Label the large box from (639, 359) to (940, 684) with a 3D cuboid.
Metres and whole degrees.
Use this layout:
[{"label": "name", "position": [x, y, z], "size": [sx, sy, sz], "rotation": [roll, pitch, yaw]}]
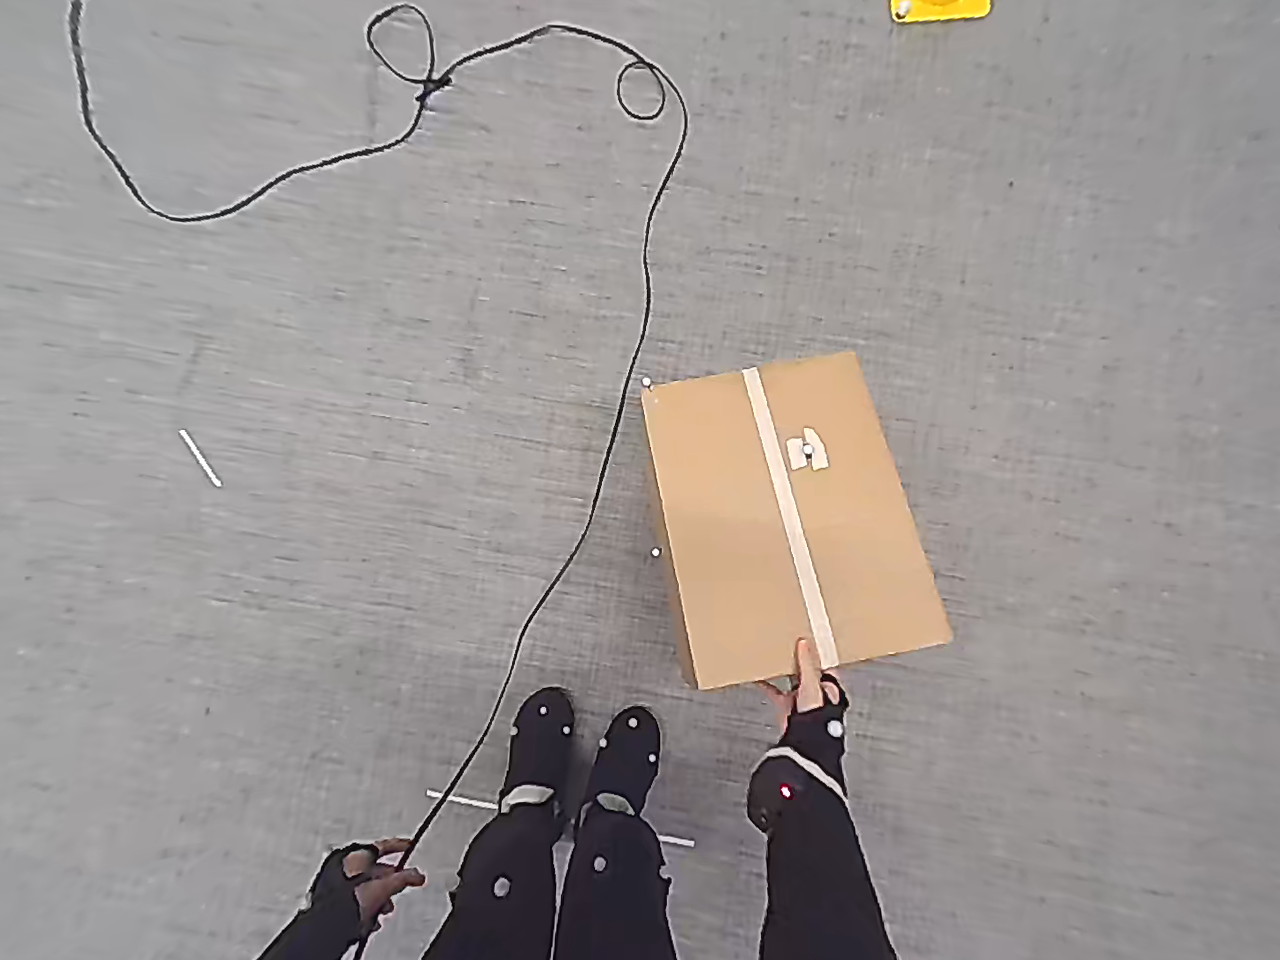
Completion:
[{"label": "large box", "position": [0.189, 0.083, 0.856], "size": [0.320, 0.320, 0.408], "rotation": [-9, 71, -2]}]
